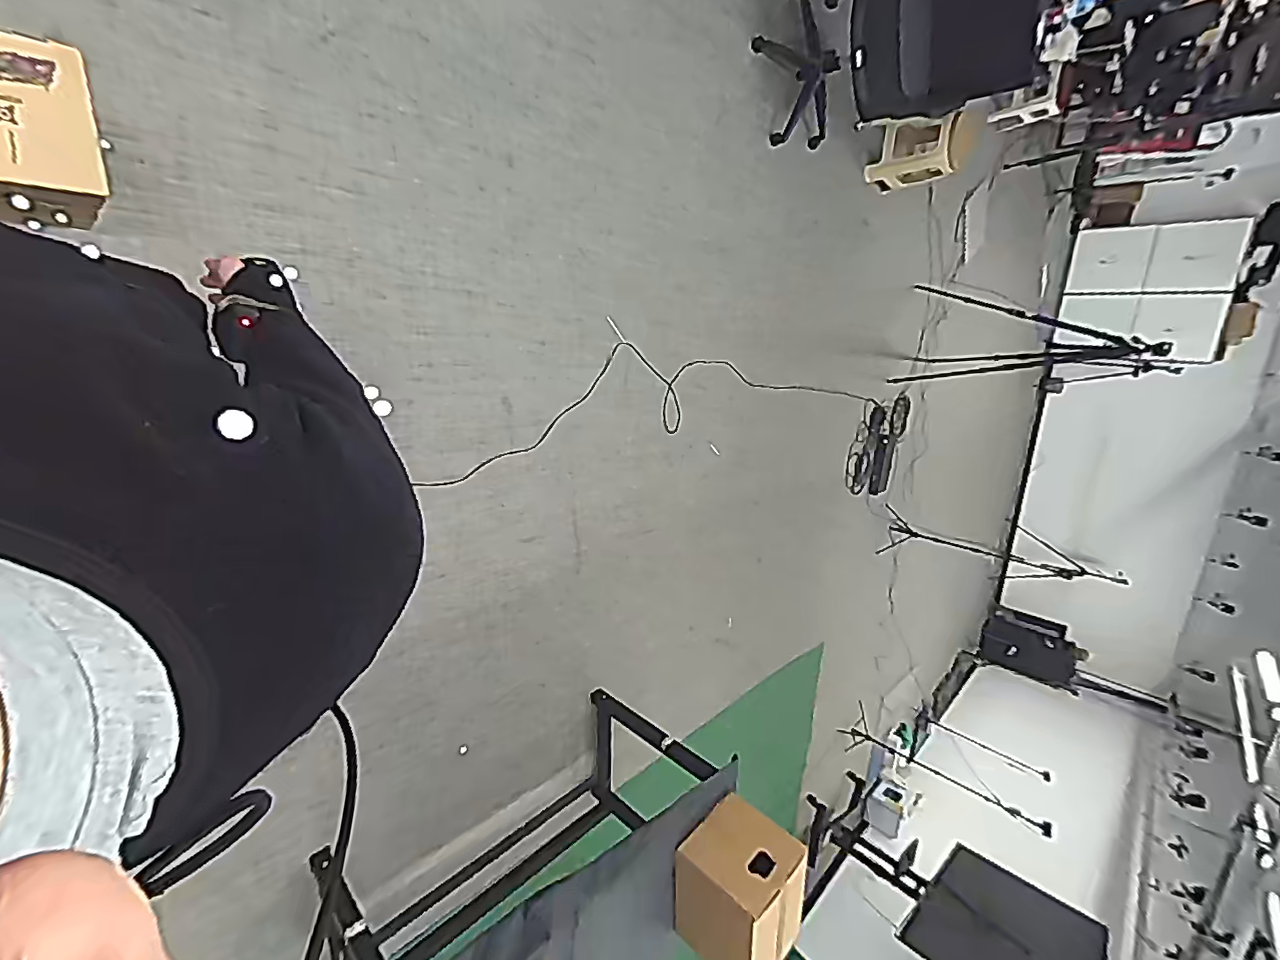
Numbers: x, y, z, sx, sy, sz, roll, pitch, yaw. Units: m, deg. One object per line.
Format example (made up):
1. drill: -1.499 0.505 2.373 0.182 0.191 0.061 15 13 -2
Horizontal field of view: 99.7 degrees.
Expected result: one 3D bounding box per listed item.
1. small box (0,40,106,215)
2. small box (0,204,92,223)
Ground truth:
1. small box: -0.844 -0.464 0.715 0.168 0.176 0.179 -14 114 -45
2. small box: -0.965 -0.500 0.820 0.168 0.176 0.179 -15 113 -44
